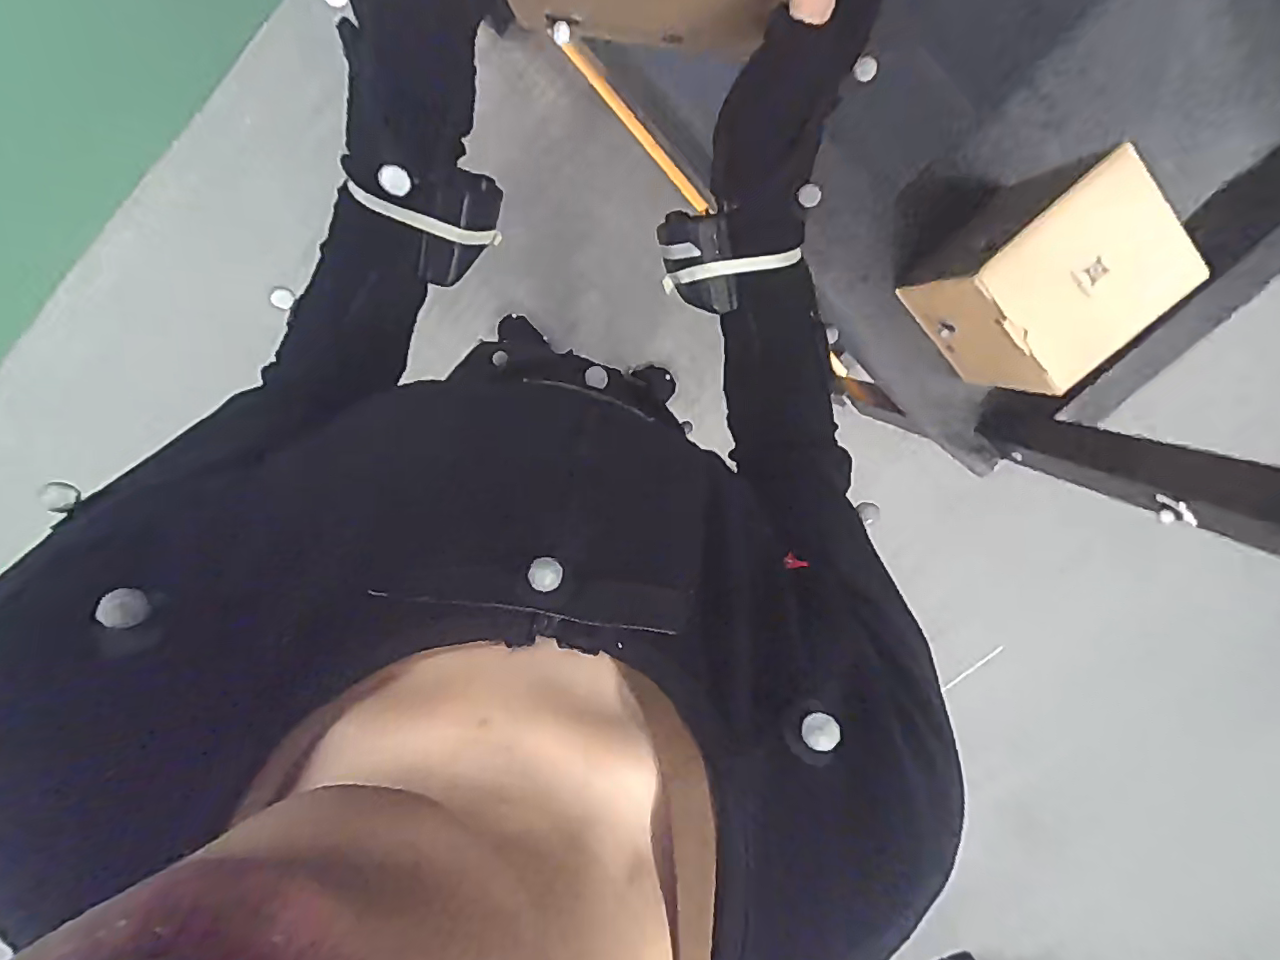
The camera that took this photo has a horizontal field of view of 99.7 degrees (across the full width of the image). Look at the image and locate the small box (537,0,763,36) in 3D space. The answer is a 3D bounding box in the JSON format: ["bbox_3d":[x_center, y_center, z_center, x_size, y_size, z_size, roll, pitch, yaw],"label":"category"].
[{"bbox_3d":[0.003,-0.347,0.254,0.168,0.176,0.179,5,114,-4],"label":"small box"}]

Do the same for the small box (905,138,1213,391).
[{"bbox_3d":[0.443,-0.225,0.603,0.179,0.176,0.168,-43,102,10],"label":"small box"}]
